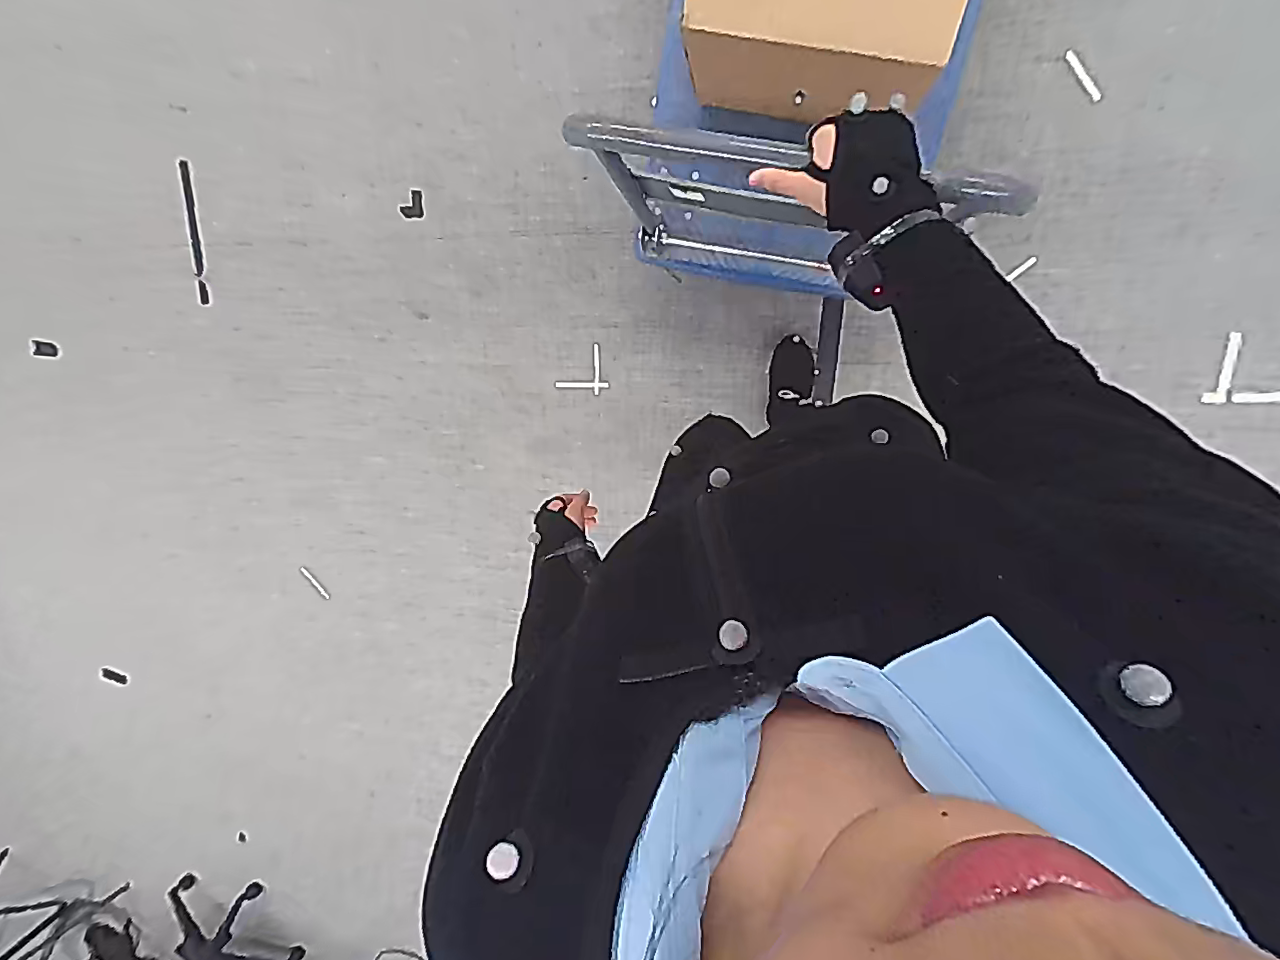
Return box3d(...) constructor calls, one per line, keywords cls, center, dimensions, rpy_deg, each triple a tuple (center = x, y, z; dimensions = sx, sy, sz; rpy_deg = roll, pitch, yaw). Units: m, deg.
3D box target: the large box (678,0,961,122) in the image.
box3d(cls="large box", center=(0.303, -0.837, 0.898), dimensions=(0.408, 0.320, 0.320), rpy_deg=(13, 106, 8))
